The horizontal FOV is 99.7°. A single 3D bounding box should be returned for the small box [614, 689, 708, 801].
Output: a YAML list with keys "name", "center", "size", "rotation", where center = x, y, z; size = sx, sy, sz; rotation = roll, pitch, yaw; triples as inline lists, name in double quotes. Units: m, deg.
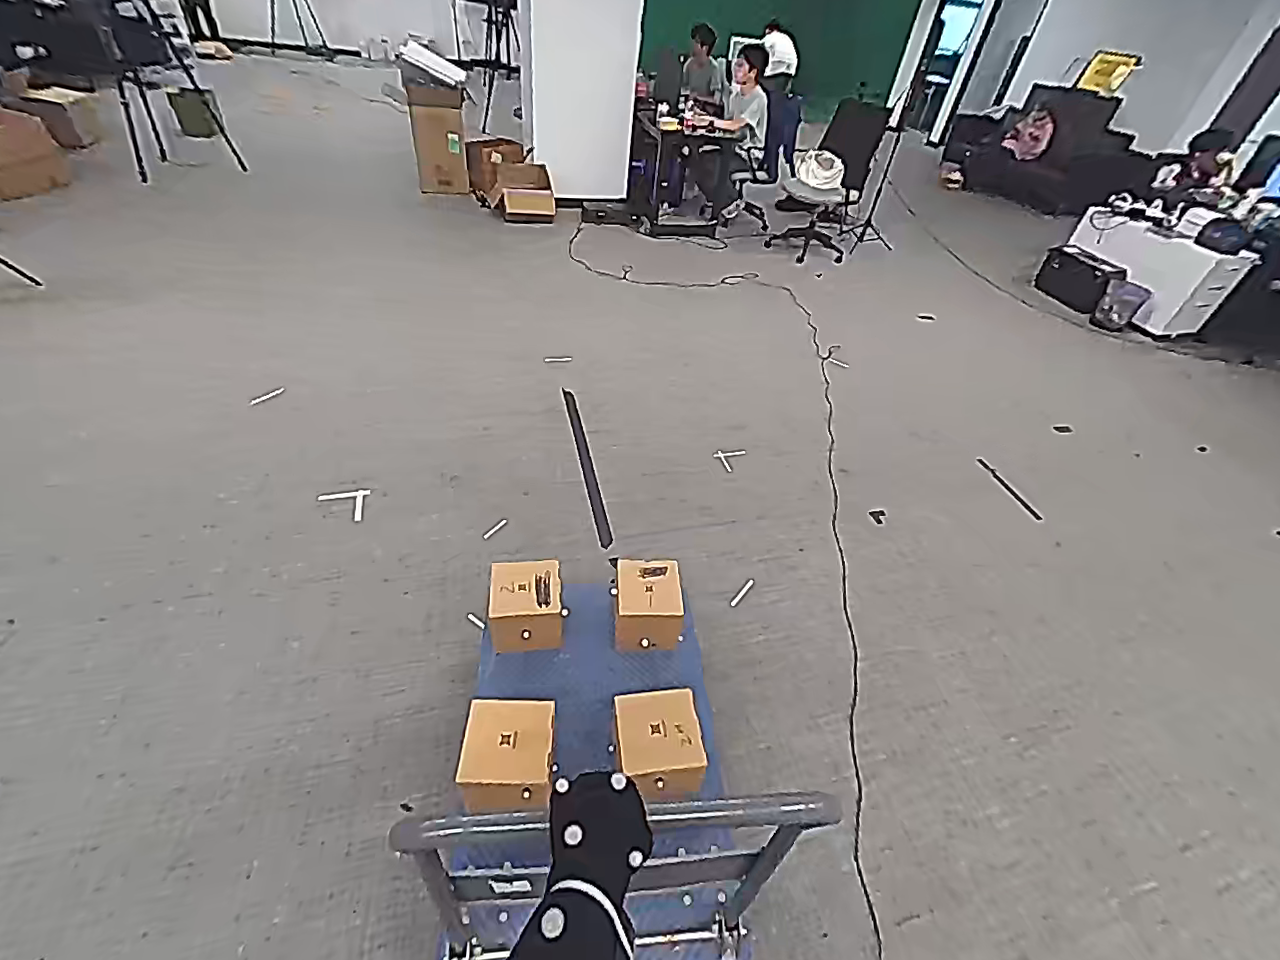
- name: "small box"
  center: [0.037, 0.584, 1.187]
  size: [0.179, 0.176, 0.168]
  rotation: [-2, 43, -10]

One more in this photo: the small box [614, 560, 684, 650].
- name: "small box"
  center: [0.018, 0.338, 1.459]
  size: [0.168, 0.176, 0.179]
  rotation: [1, 43, -6]

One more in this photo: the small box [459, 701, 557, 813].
- name: "small box"
  center: [-0.270, 0.587, 1.143]
  size: [0.179, 0.176, 0.168]
  rotation: [4, 41, -6]
